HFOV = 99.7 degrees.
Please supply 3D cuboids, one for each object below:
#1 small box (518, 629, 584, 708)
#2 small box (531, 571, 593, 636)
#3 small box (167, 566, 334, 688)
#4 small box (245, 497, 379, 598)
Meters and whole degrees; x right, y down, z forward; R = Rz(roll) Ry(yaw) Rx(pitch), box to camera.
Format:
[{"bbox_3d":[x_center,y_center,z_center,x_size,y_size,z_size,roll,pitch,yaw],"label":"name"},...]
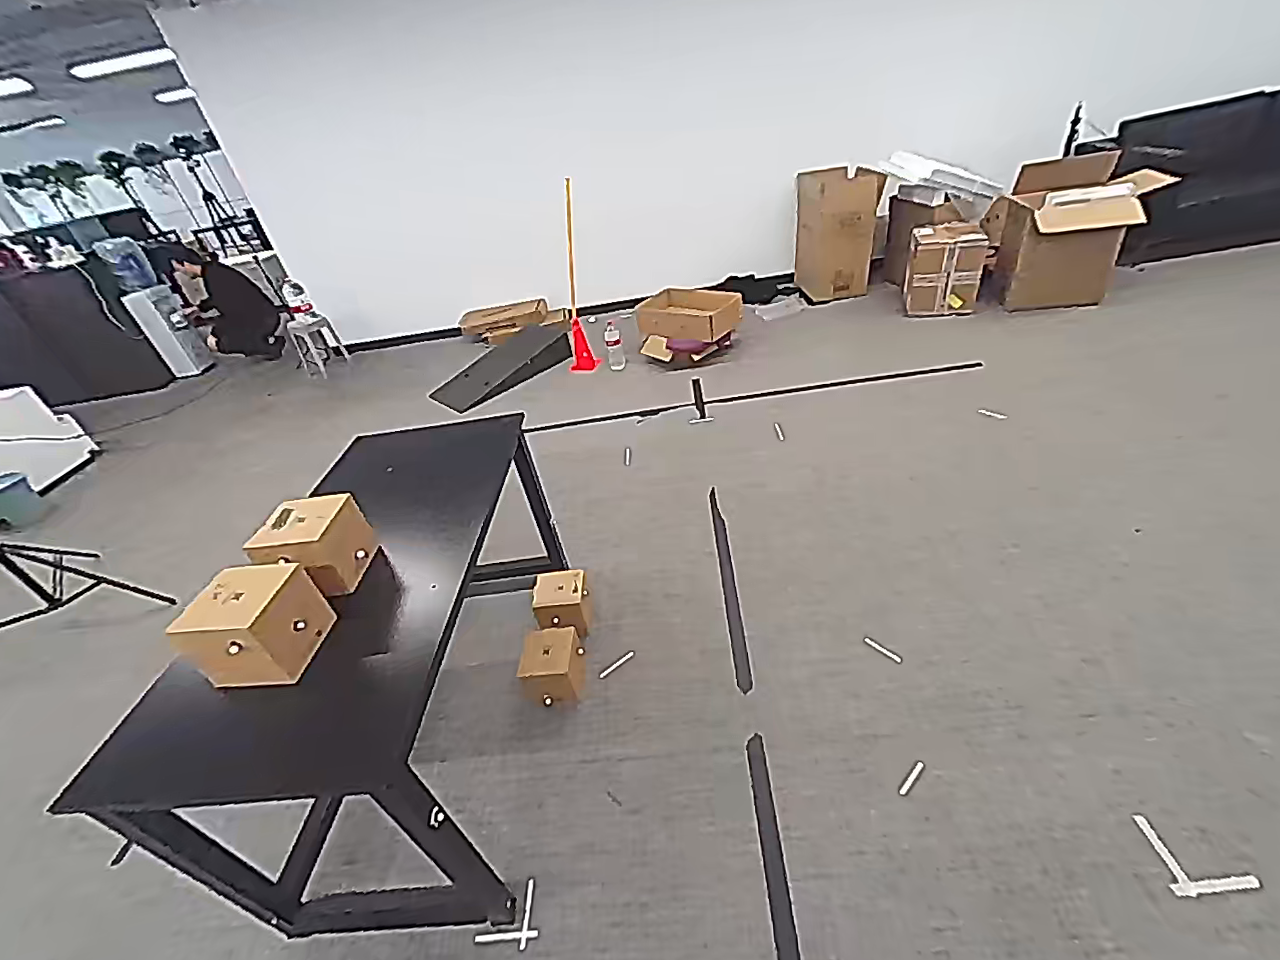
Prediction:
[{"bbox_3d":[-0.284,0.616,1.766,0.168,0.176,0.179,-8,36,6],"label":"small box"},{"bbox_3d":[-0.279,0.460,1.978,0.179,0.176,0.168,-8,36,5],"label":"small box"},{"bbox_3d":[-0.756,0.294,1.076,0.179,0.176,0.168,-6,35,8],"label":"small box"},{"bbox_3d":[-0.750,0.163,1.258,0.179,0.176,0.168,-7,35,5],"label":"small box"}]
